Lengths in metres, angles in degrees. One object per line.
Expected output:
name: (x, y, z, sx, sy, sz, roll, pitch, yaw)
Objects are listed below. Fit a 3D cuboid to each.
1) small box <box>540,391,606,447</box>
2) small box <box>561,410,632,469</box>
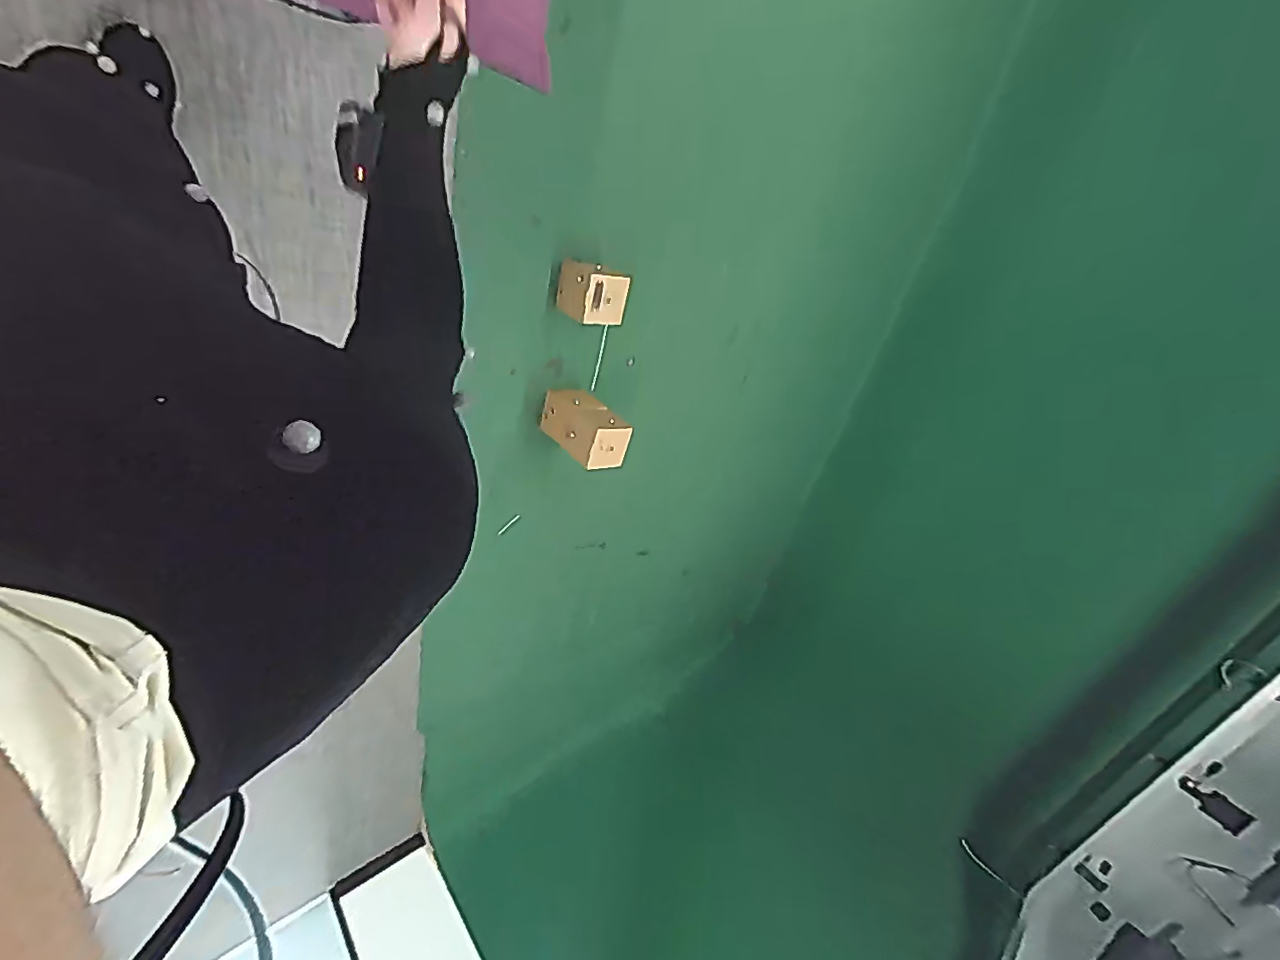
small box: (-0.267, -0.243, 2.131, 0.179, 0.176, 0.168, -9, 127, -43)
small box: (-0.167, -0.156, 2.033, 0.179, 0.176, 0.168, -6, 125, -44)
